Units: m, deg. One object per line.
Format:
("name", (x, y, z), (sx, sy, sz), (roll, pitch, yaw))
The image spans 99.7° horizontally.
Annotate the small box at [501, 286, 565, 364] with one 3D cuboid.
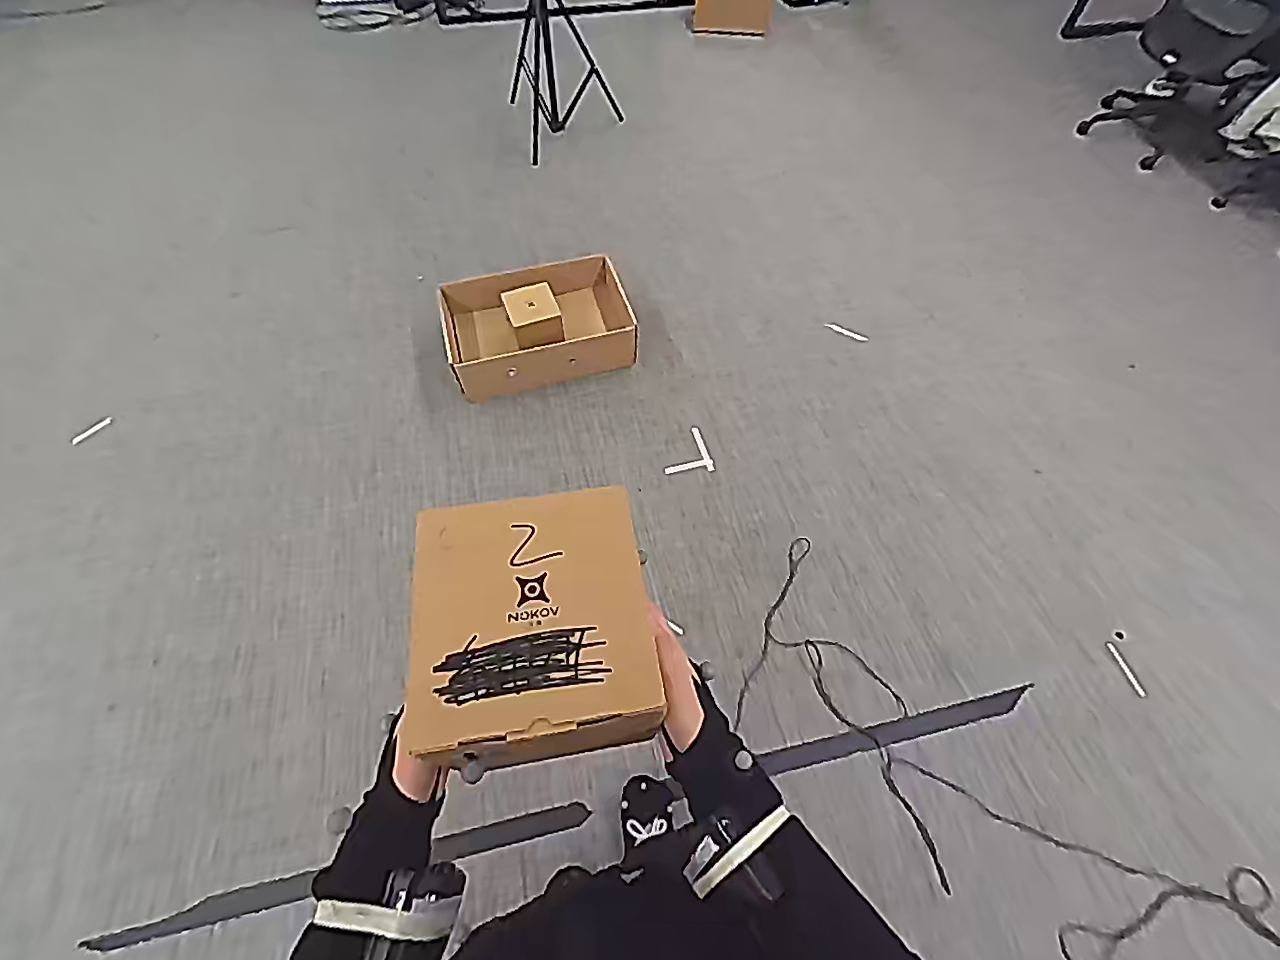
("small box", (-0.367, -0.534, 1.869), (0.168, 0.176, 0.179), (-20, 62, -12))
